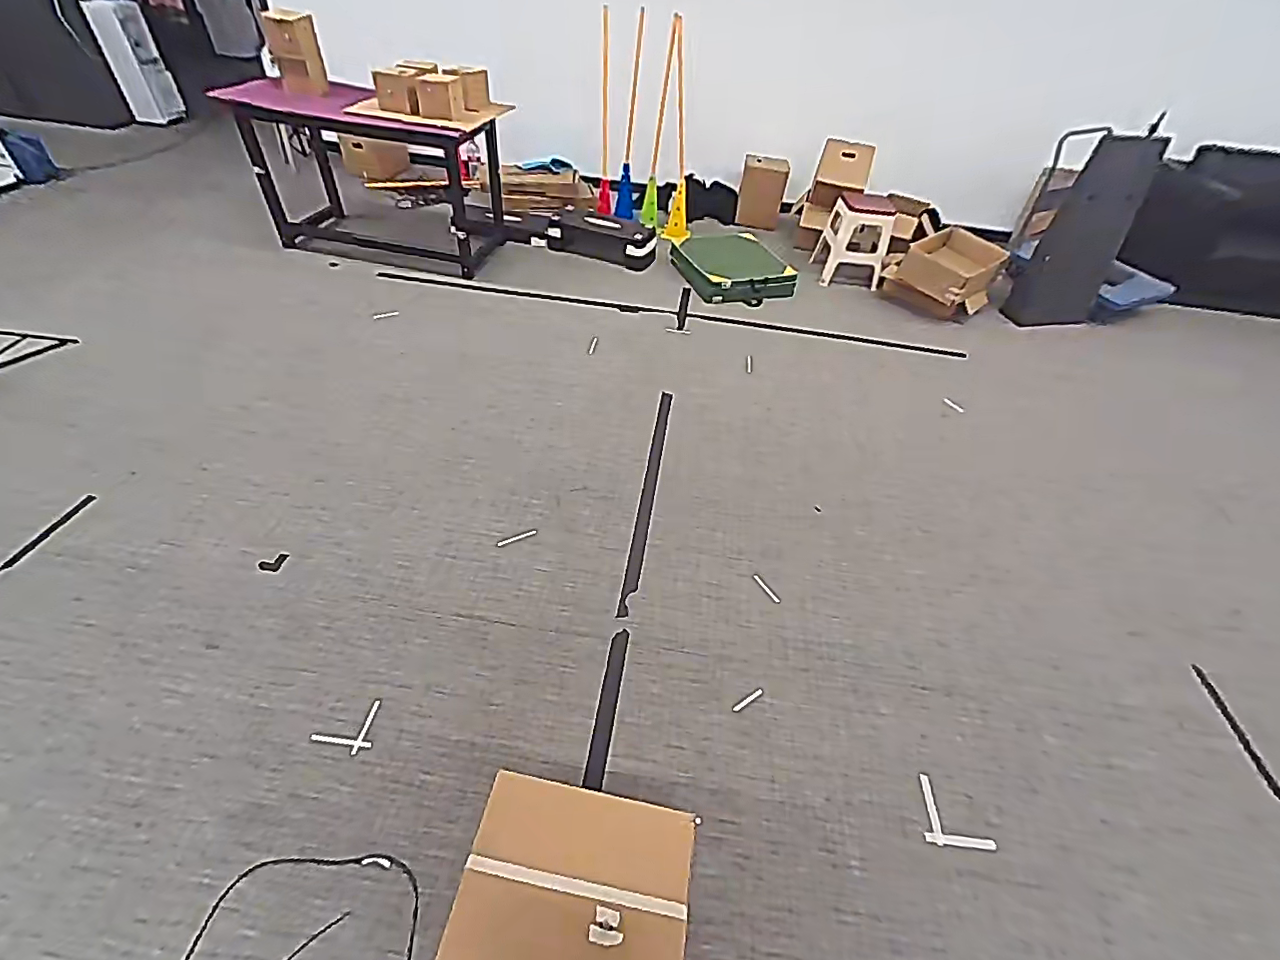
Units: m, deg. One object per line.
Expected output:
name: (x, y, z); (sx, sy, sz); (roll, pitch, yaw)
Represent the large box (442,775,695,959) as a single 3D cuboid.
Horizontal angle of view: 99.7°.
large box: (-0.127, 0.838, 1.074); (0.408, 0.320, 0.320); (11, 45, 3)
